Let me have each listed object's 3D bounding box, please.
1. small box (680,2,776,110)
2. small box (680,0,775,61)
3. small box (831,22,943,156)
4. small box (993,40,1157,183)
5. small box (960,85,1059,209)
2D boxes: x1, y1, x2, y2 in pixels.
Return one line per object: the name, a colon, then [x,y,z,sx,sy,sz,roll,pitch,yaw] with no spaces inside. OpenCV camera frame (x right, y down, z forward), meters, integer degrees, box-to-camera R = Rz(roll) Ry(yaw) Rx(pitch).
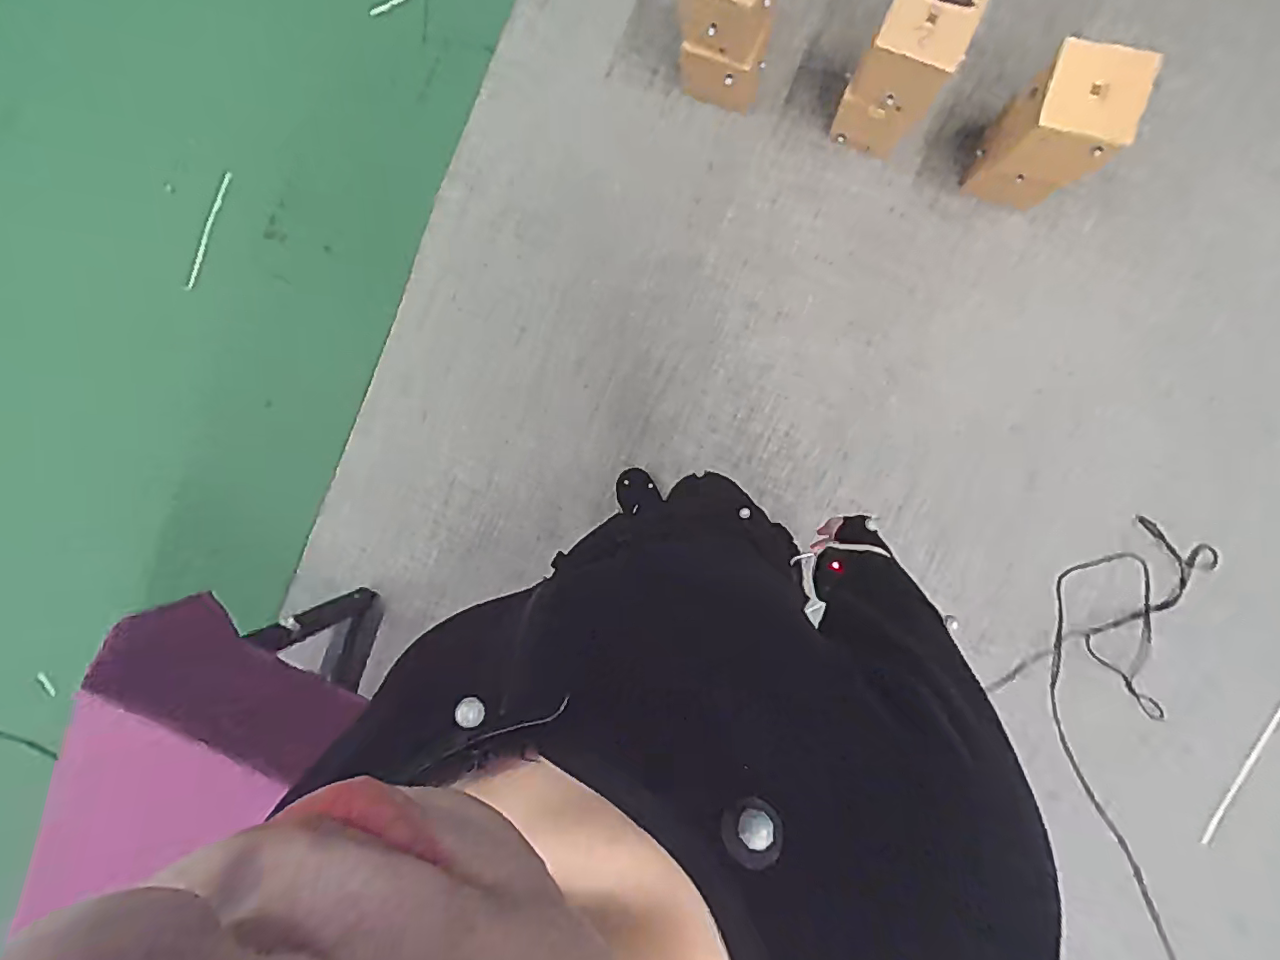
small box: [0.211,-1.055,1.326,0.179,0.176,0.168,23,96,5]
small box: [0.196,-1.062,1.162,0.168,0.176,0.179,27,97,4]
small box: [0.573,-0.917,1.287,0.168,0.176,0.179,24,96,5]
small box: [0.865,-0.734,1.097,0.179,0.176,0.168,17,96,6]
small box: [0.889,-0.761,1.256,0.179,0.176,0.168,22,97,5]
